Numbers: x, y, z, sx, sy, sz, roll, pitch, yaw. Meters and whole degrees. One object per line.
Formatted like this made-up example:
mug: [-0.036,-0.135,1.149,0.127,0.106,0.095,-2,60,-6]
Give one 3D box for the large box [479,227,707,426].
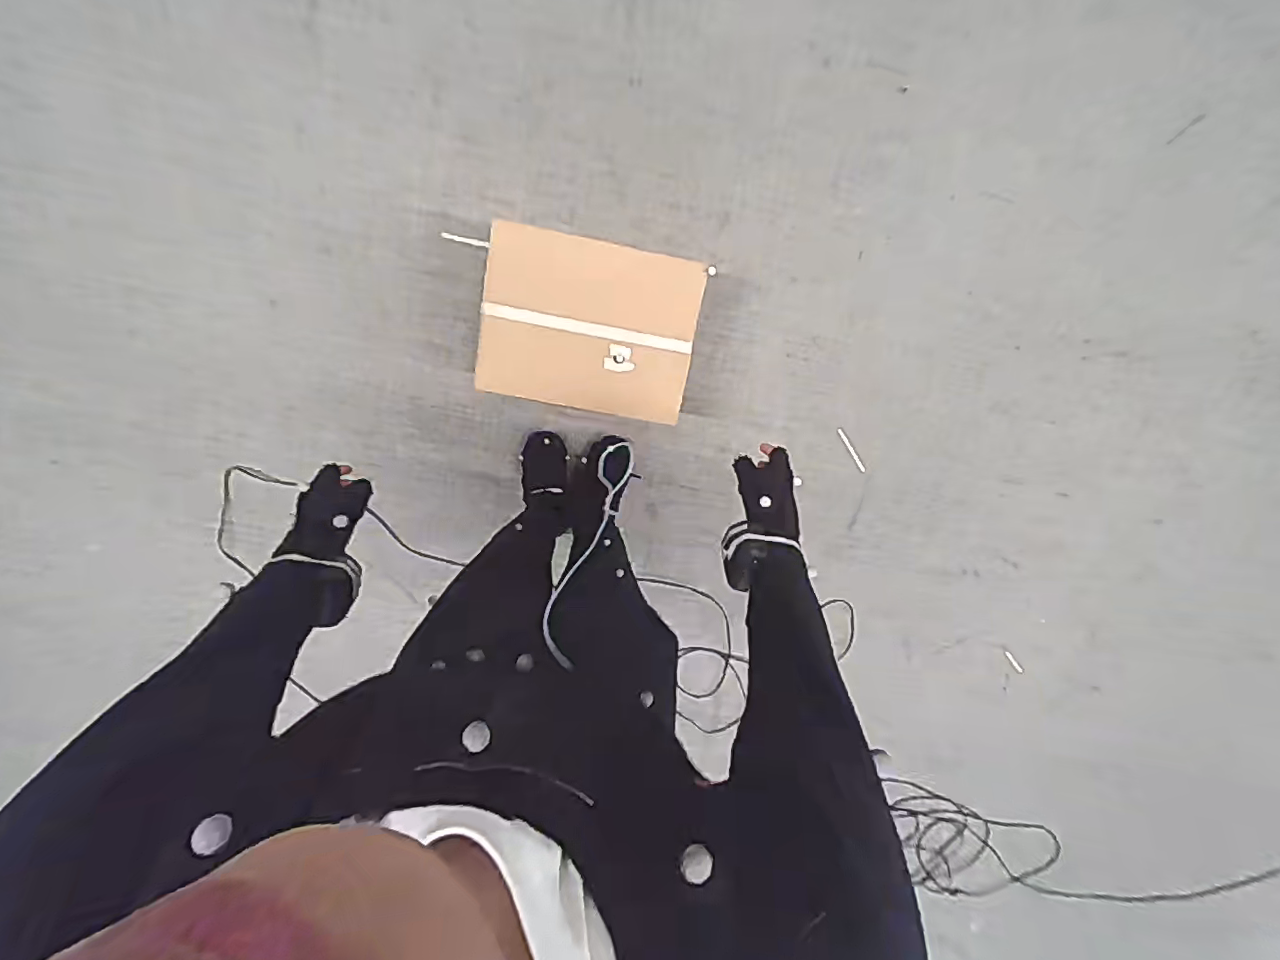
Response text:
large box: [-0.104,-0.320,1.178,0.408,0.320,0.320,10,104,-6]
